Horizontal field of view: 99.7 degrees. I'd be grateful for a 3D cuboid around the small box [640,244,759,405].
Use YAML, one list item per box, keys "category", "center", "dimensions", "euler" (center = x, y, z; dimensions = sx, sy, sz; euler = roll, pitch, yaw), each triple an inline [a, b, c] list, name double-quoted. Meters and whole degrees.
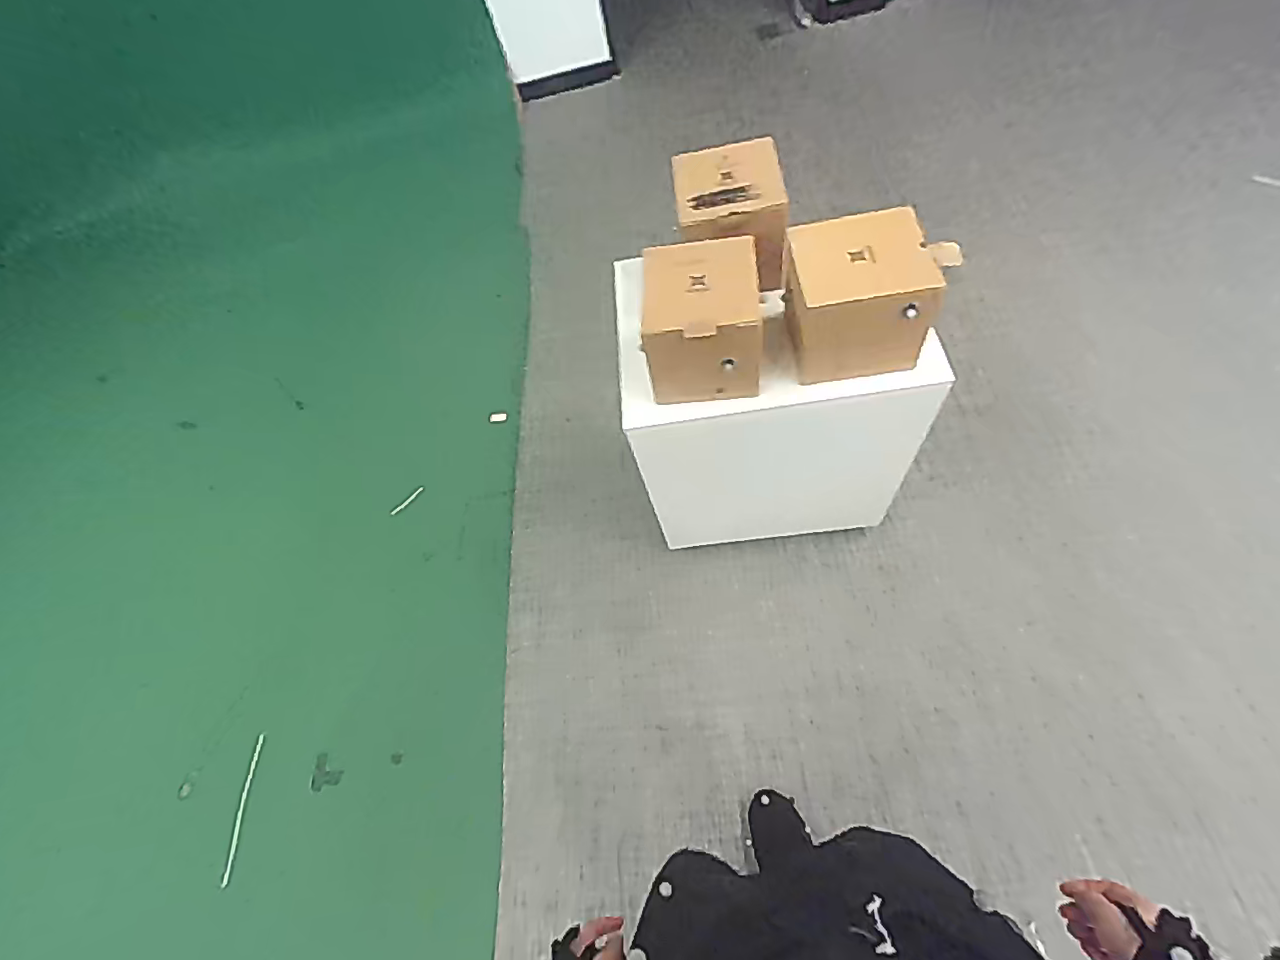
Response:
- category: "small box"
  center: [0.096, -0.230, 0.838]
  dimensions: [0.168, 0.176, 0.179]
  euler: [-3, 60, 8]
